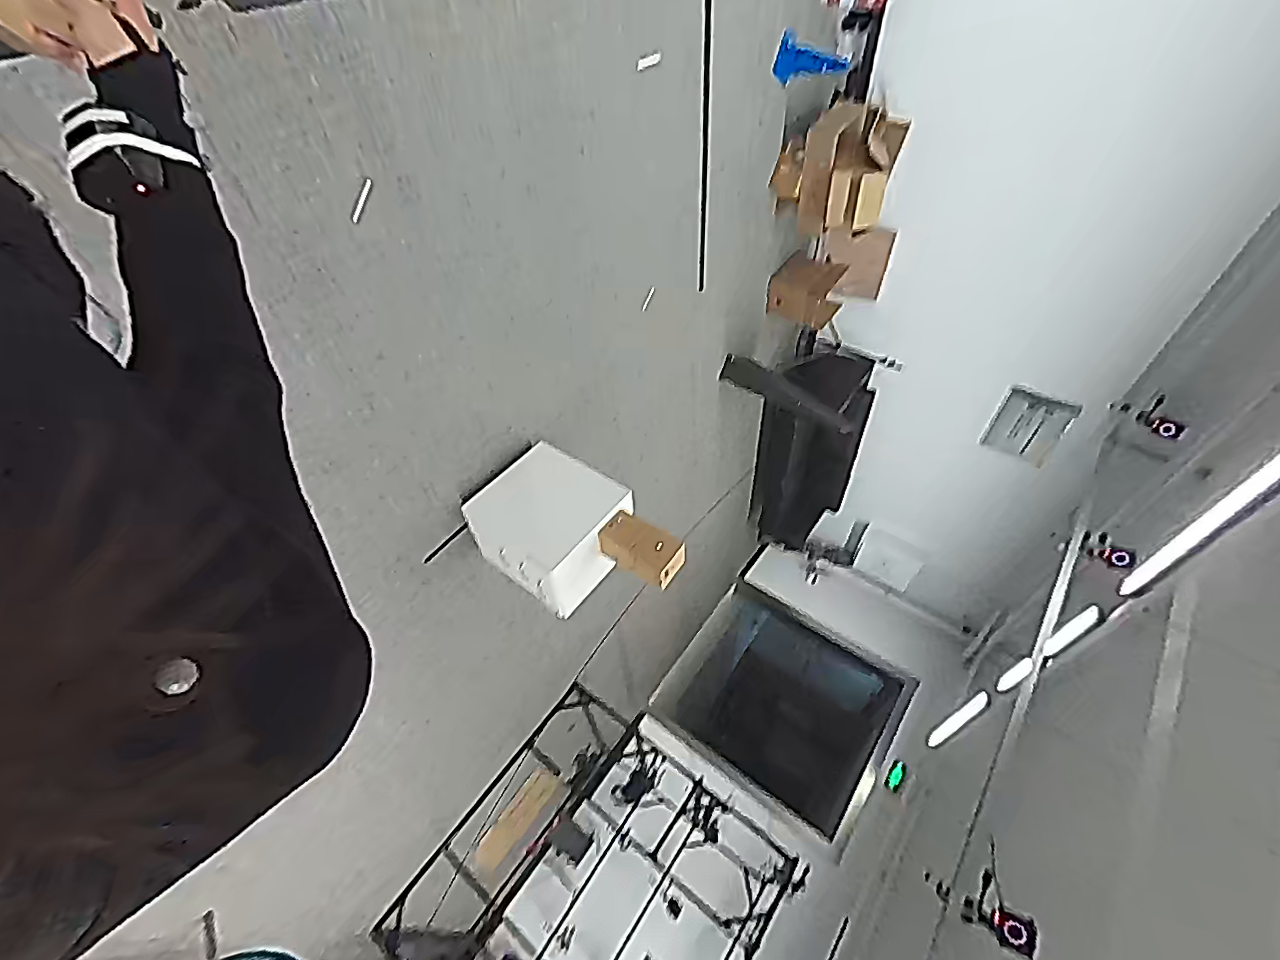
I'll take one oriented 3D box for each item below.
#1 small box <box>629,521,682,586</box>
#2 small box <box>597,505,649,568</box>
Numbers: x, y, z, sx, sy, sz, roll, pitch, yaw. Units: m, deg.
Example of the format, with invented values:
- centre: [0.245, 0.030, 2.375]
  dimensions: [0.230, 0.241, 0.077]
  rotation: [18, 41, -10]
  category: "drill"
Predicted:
- centre: [0.064, 0.310, 2.294]
  dimensions: [0.179, 0.176, 0.168]
  rotation: [-49, 154, -28]
  category: "small box"
- centre: [-0.071, 0.243, 2.359]
  dimensions: [0.168, 0.176, 0.179]
  rotation: [-46, 151, -31]
  category: "small box"
